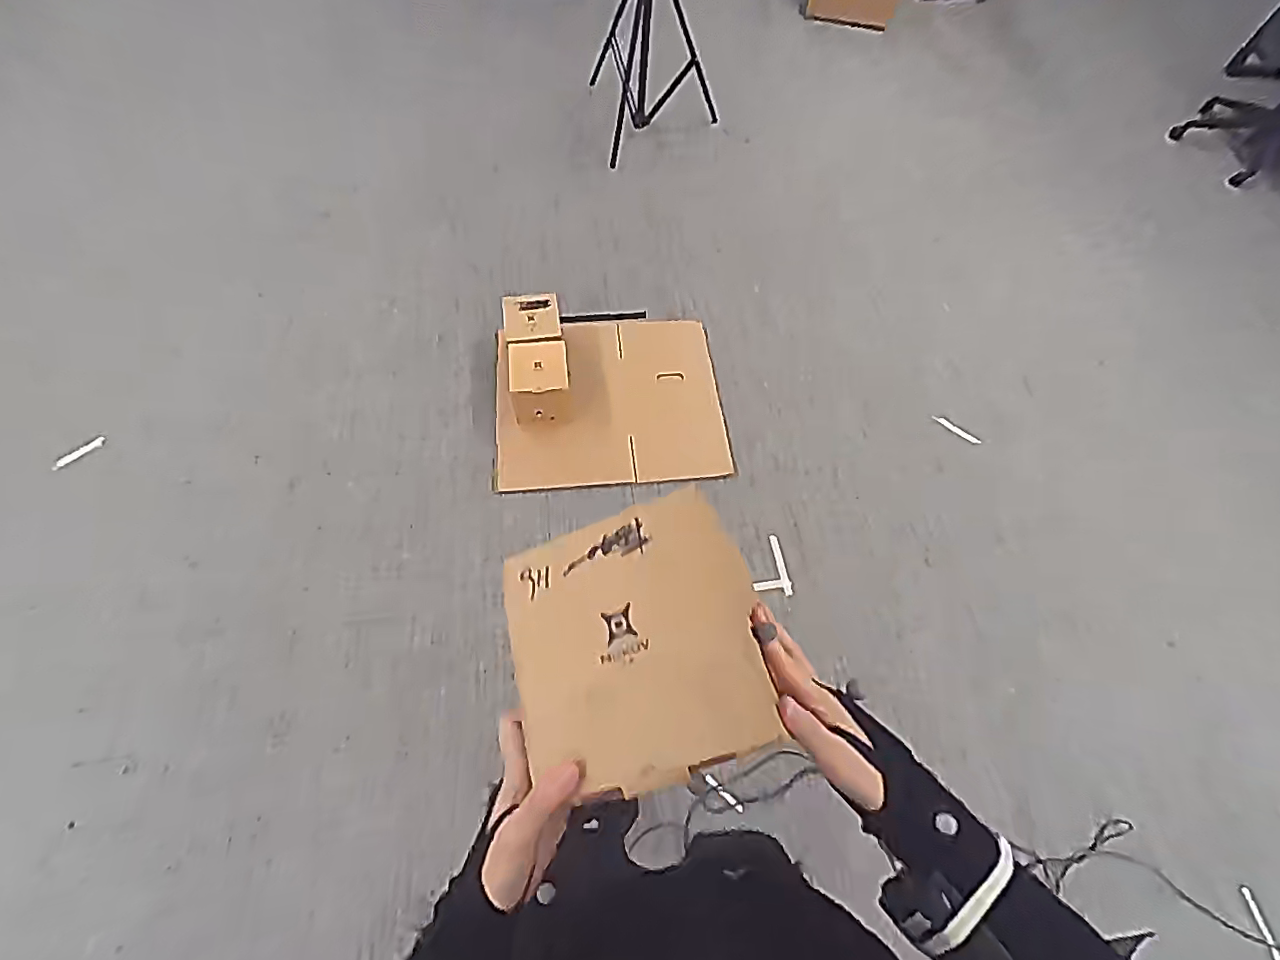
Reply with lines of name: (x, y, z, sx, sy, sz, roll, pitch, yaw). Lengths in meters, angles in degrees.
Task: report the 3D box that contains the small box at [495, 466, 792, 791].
small box: (0.010, 0.120, 0.428, 0.168, 0.176, 0.179, -22, 62, 10)
